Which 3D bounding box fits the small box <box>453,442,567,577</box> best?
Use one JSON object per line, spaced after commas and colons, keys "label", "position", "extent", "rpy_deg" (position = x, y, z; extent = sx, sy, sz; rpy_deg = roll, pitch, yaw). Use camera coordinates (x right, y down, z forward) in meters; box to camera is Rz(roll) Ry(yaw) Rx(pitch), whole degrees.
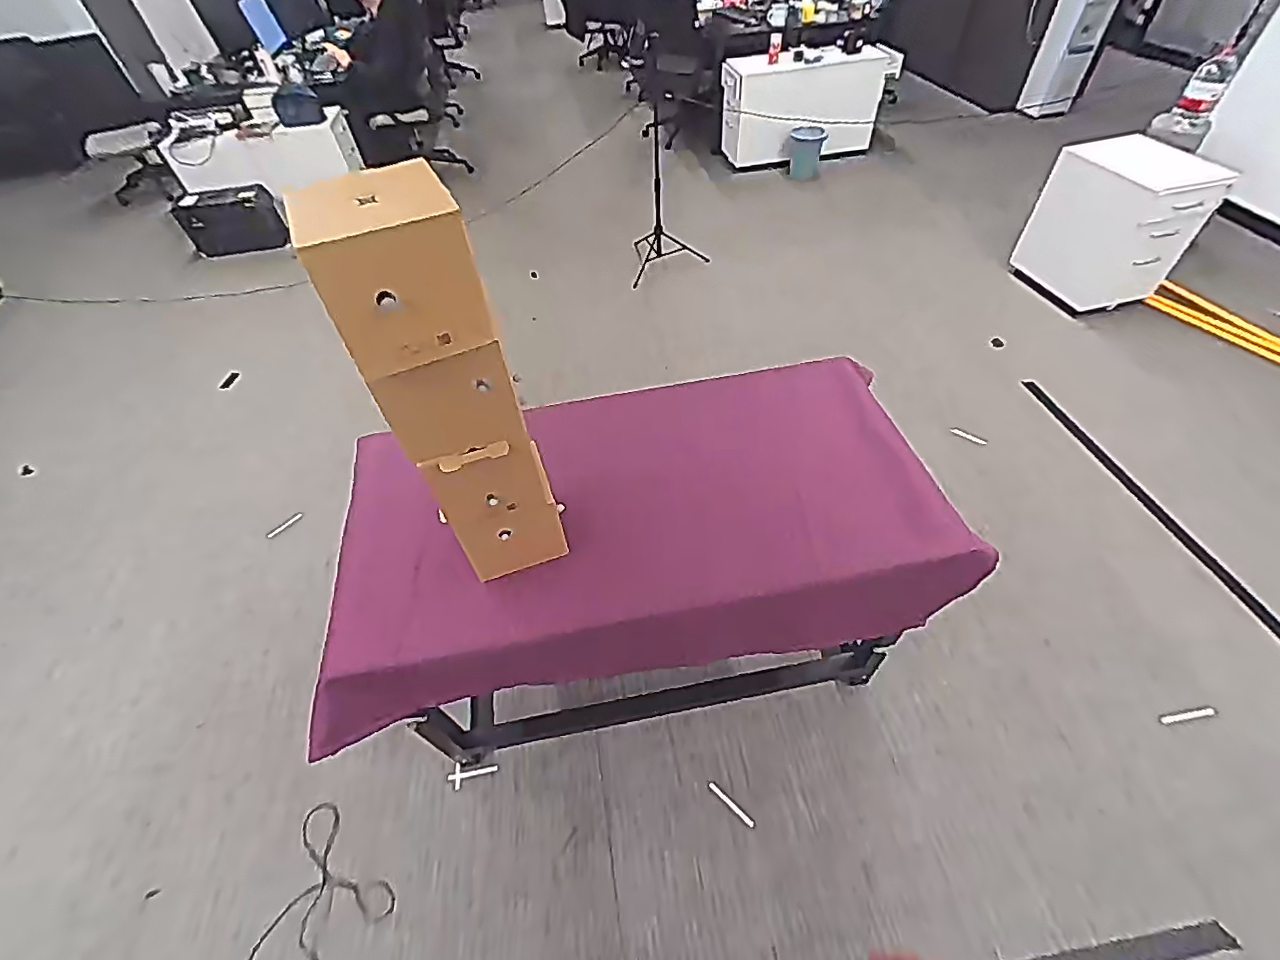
{"label": "small box", "position": [-0.251, 0.060, 1.030], "extent": [0.179, 0.176, 0.168], "rpy_deg": [-17, 51, -11]}

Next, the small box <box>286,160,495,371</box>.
{"label": "small box", "position": [-0.290, -0.251, 0.650], "extent": [0.168, 0.176, 0.179], "rpy_deg": [-23, 51, -16]}

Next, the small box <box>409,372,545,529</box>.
{"label": "small box", "position": [-0.269, -0.049, 0.907], "extent": [0.168, 0.176, 0.179], "rpy_deg": [-18, 51, -11]}
